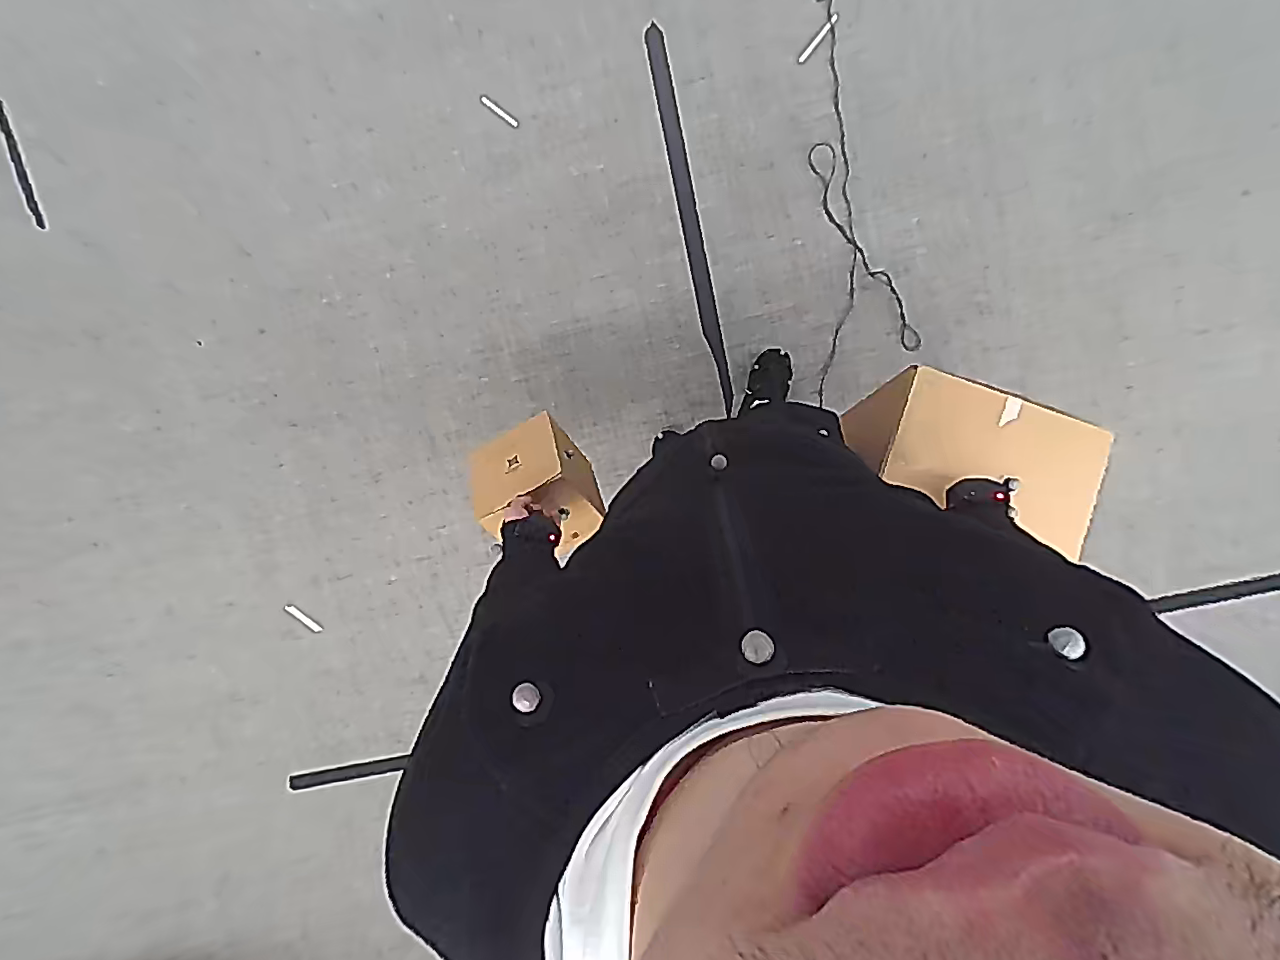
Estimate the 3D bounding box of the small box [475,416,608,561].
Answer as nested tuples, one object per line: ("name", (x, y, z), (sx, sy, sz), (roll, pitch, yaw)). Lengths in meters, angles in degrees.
("small box", (-0.176, 0.024, 0.978), (0.168, 0.179, 0.176), (-29, 134, 7))
